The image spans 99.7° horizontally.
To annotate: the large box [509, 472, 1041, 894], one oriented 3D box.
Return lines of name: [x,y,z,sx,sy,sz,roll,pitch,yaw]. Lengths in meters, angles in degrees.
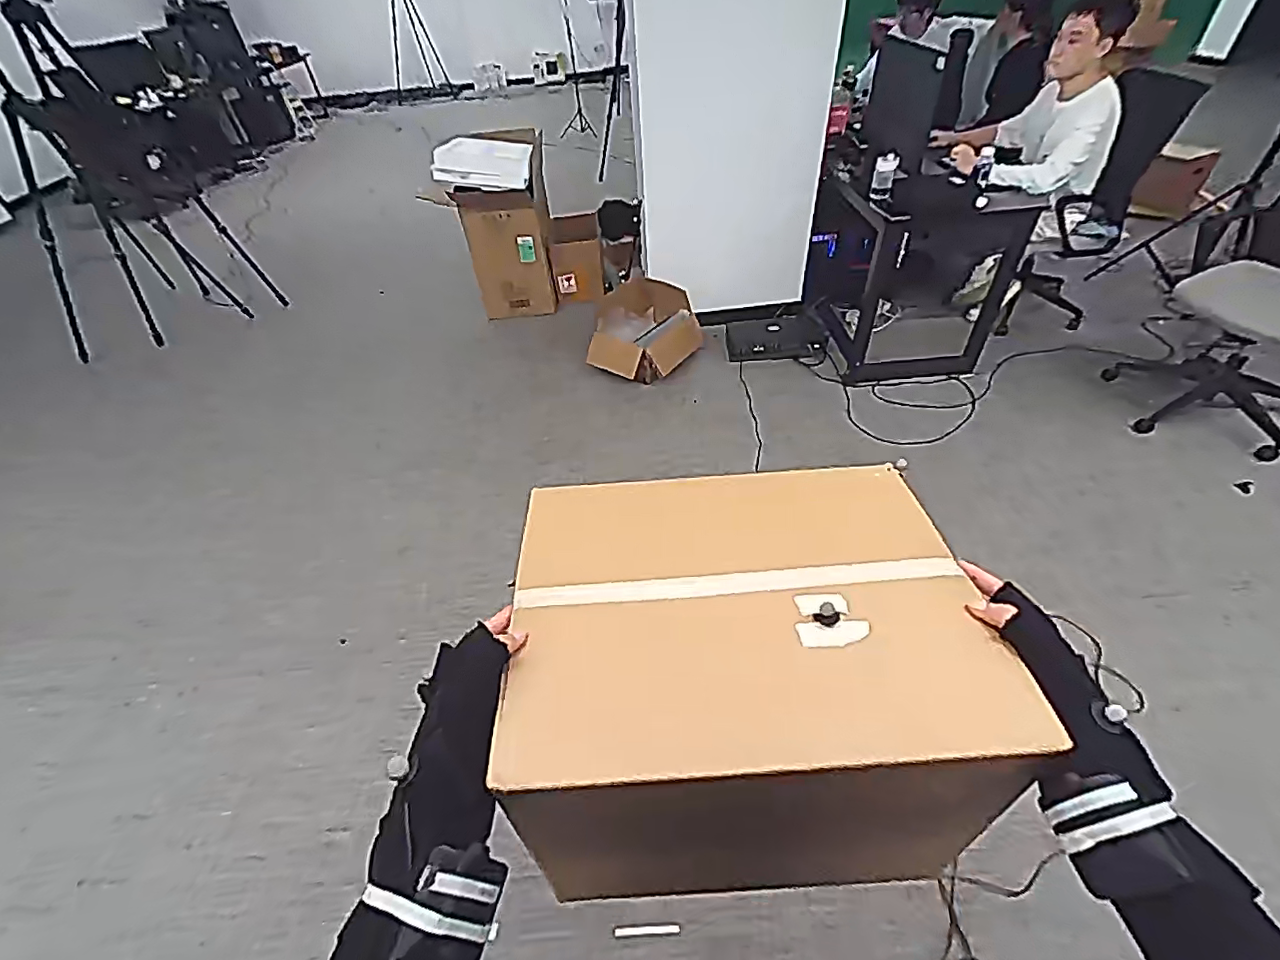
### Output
large box: [0.099,0.218,0.602,0.408,0.320,0.320,-4,40,0]
